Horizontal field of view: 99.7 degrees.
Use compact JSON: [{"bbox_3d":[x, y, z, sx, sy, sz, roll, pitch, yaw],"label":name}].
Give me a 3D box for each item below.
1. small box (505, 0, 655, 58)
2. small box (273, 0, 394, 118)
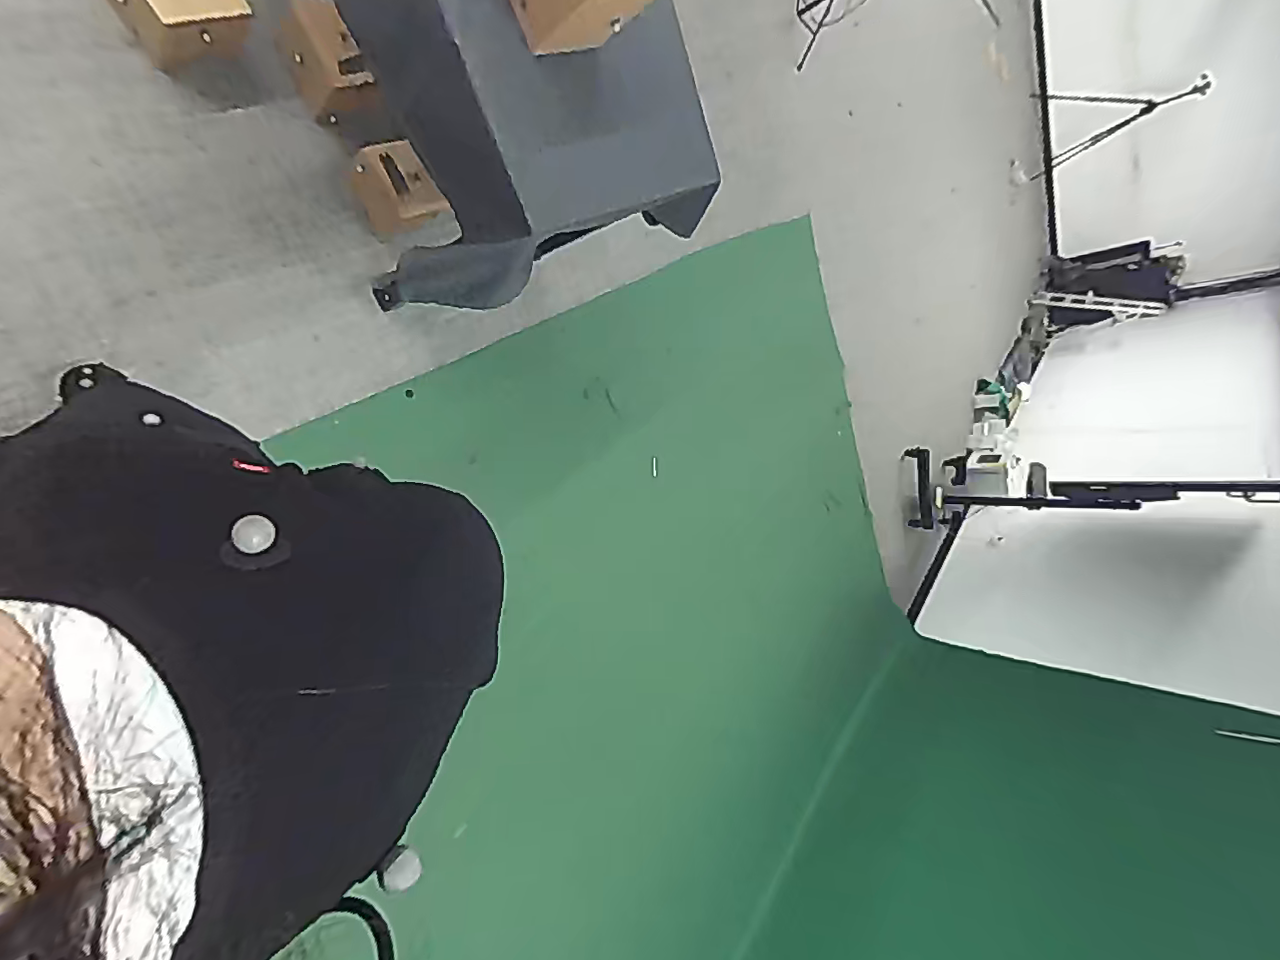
[{"bbox_3d":[-0.110,-0.824,0.878,0.179,0.176,0.168,-41,118,-36],"label":"small box"},{"bbox_3d":[-0.727,-0.989,1.282,0.168,0.176,0.179,-41,117,-36],"label":"small box"}]
